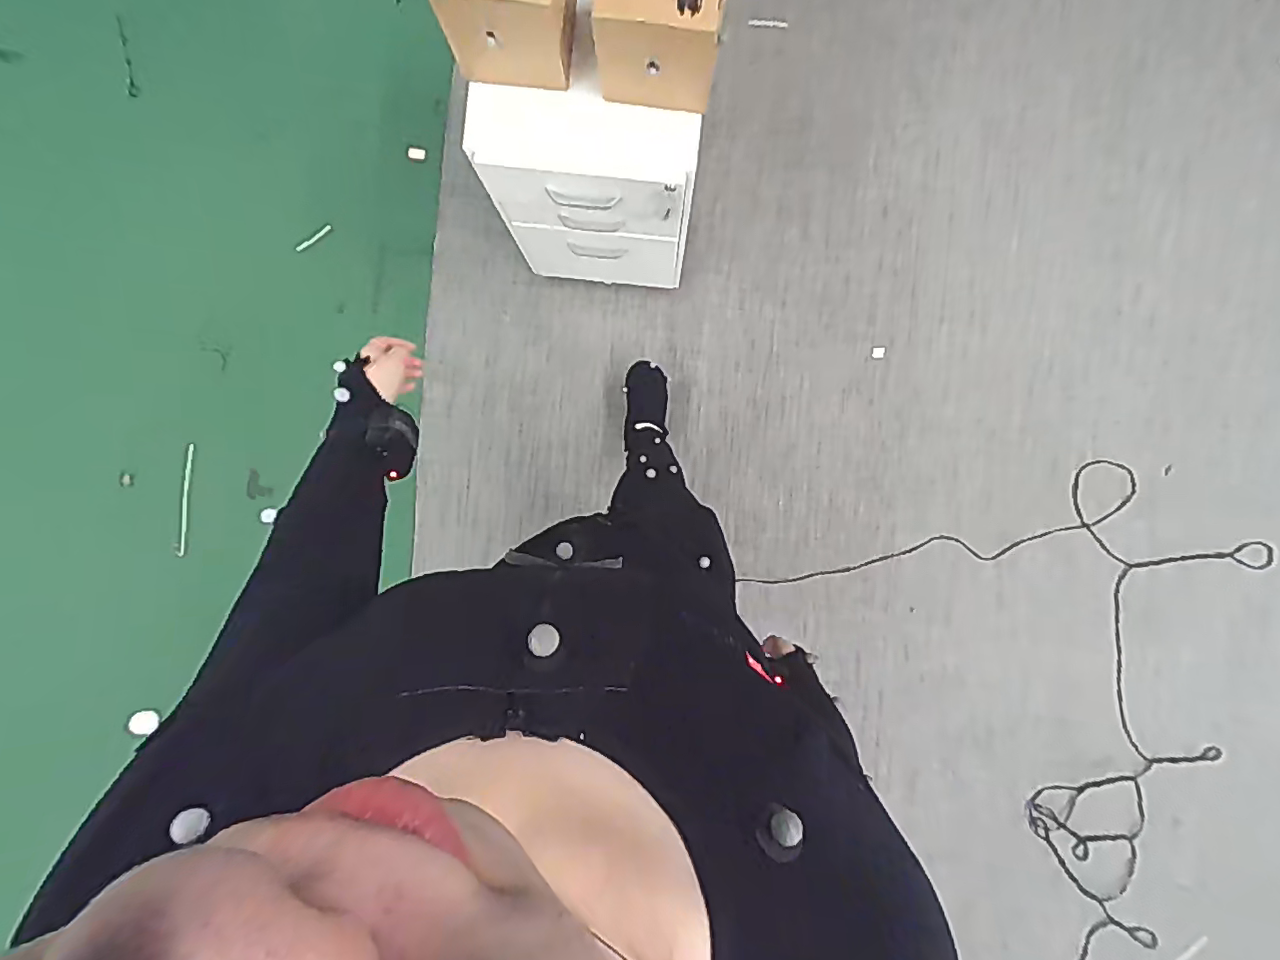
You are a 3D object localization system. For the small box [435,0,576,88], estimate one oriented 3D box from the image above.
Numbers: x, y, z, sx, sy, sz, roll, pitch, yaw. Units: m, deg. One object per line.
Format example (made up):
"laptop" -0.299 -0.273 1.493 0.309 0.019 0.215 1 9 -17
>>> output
"small box" -0.201 -0.741 0.824 0.179 0.176 0.168 6 90 0
